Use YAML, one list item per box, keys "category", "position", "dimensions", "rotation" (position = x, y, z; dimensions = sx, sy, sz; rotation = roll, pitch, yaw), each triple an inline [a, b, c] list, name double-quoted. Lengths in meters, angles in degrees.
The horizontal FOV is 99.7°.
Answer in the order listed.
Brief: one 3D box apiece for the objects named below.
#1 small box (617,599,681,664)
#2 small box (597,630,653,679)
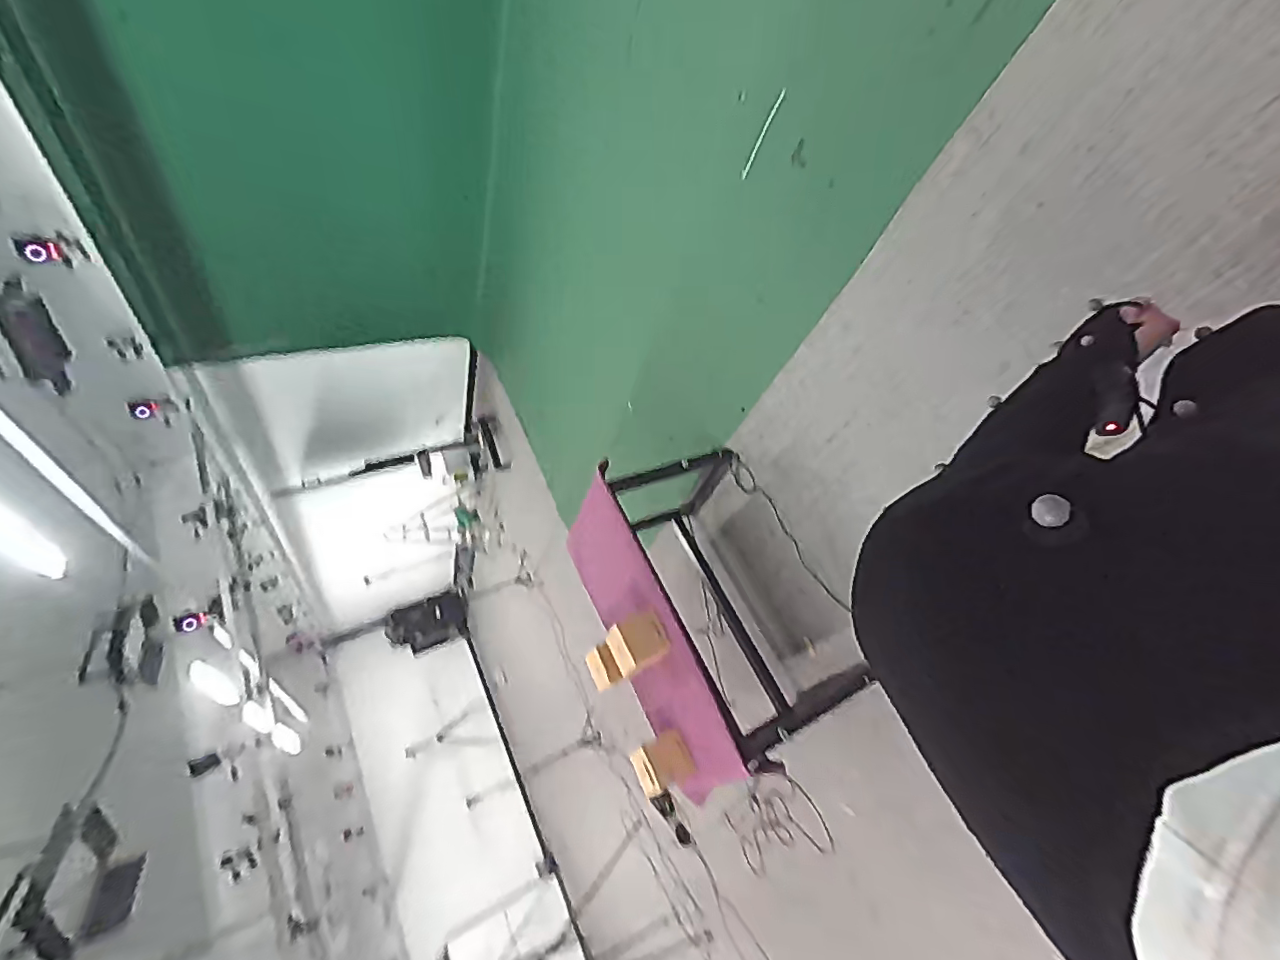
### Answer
- category: "small box"
  position: [0.035, 0.582, 2.085]
  dimensions: [0.168, 0.176, 0.179]
  rotation: [61, 150, 22]
- category: "small box"
  position: [-0.064, 0.742, 2.352]
  dimensions: [0.168, 0.176, 0.179]
  rotation: [63, 148, 21]
